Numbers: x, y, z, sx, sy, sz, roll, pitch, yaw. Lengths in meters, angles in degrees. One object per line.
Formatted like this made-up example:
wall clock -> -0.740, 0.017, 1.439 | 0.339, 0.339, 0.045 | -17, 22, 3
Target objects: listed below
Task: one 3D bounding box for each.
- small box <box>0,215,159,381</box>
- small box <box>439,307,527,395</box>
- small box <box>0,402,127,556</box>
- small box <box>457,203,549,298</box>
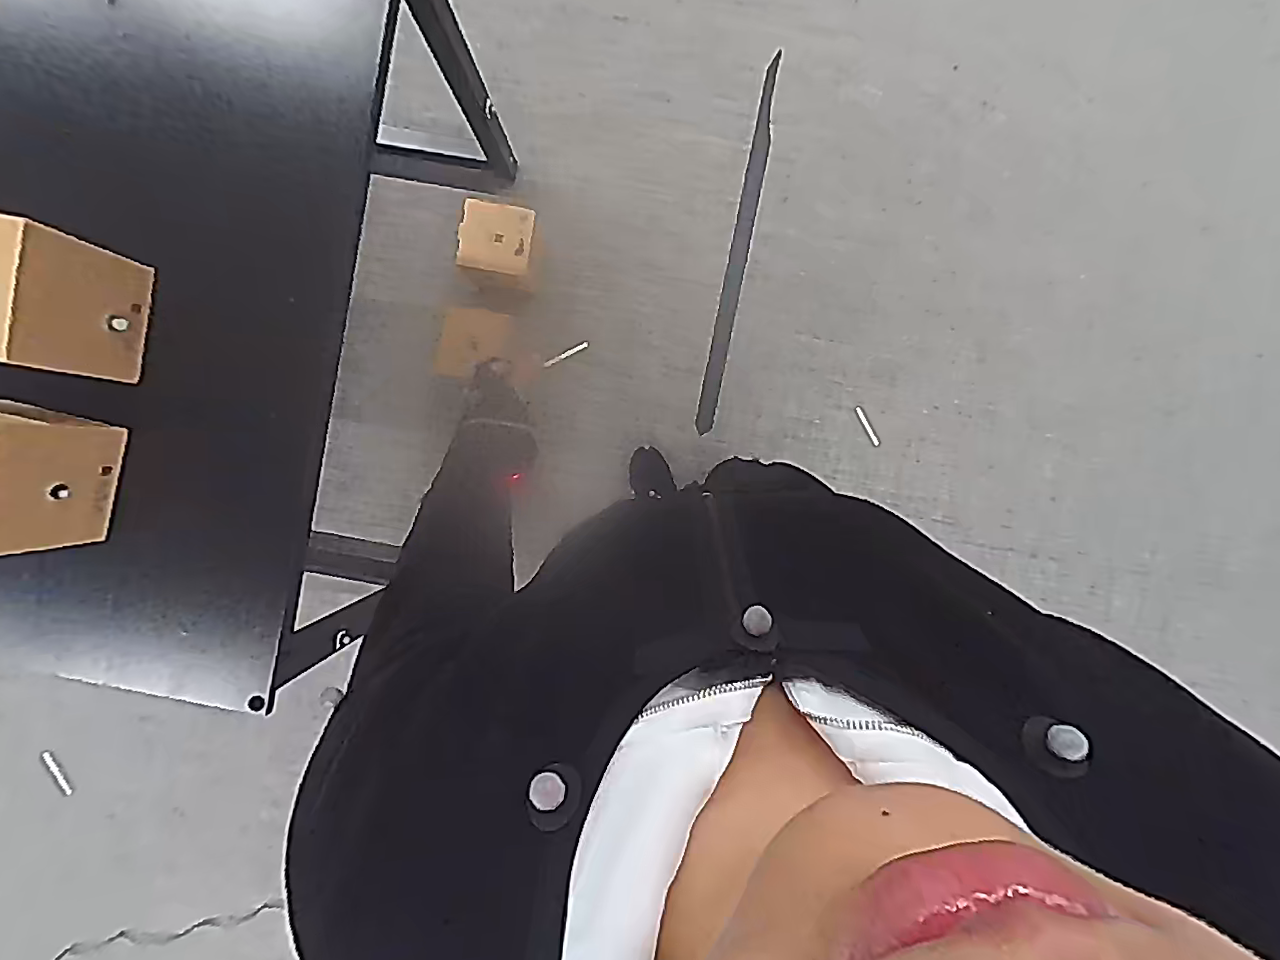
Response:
small box -> -0.781, -0.229, 0.689 | 0.179, 0.176, 0.168 | 10, 92, -1
small box -> -0.403, -0.331, 1.415 | 0.168, 0.176, 0.179 | 10, 92, 1
small box -> -0.828, -0.010, 0.695 | 0.179, 0.176, 0.168 | 14, 91, 0
small box -> -0.350, -0.588, 1.405 | 0.179, 0.176, 0.168 | 10, 92, 0
